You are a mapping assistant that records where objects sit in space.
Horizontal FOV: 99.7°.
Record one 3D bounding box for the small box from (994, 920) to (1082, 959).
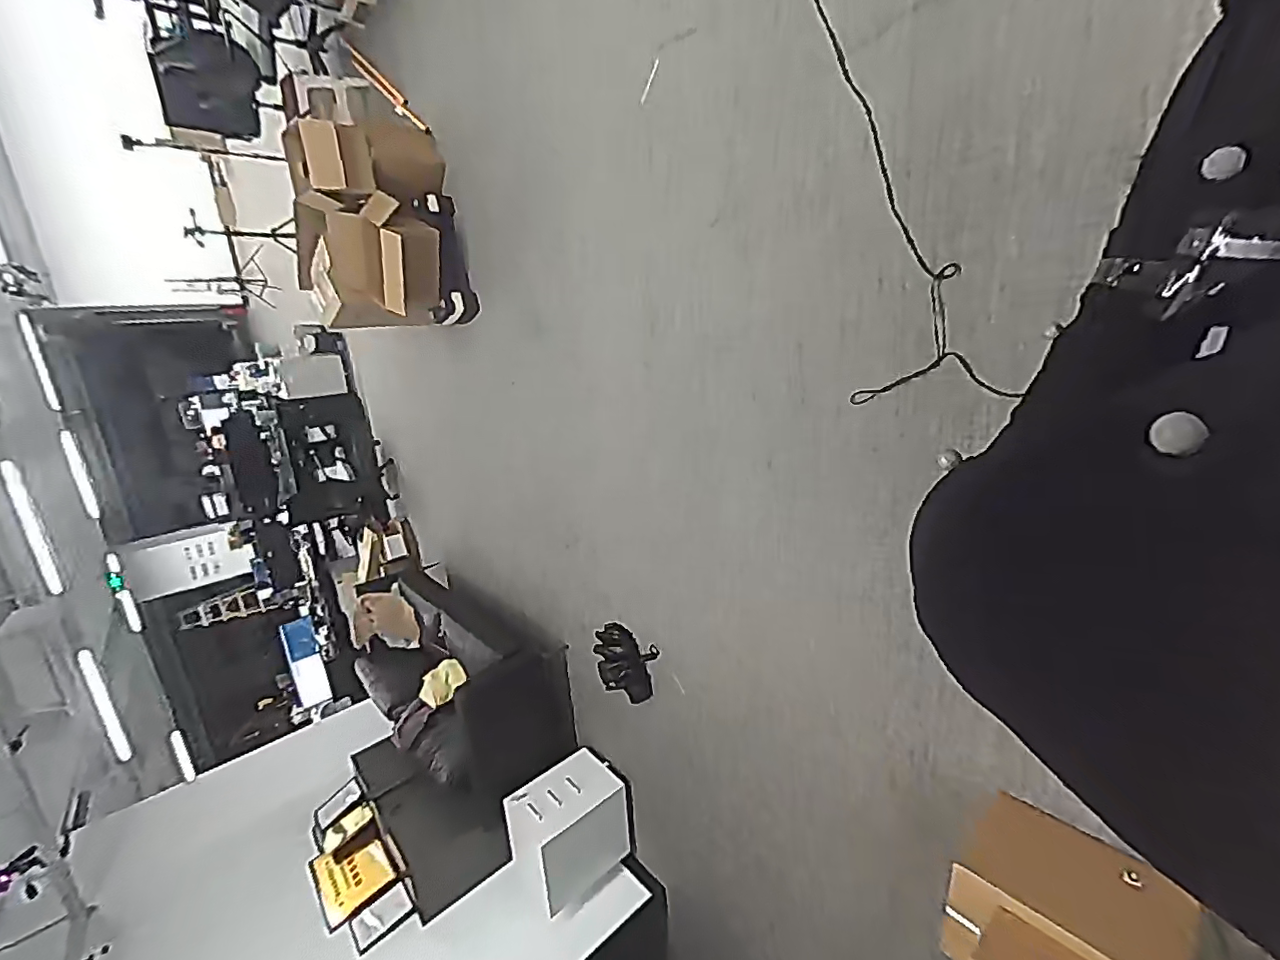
[{"bbox_3d":[0.851,1.093,1.133,0.179,0.176,0.168,13,112,51],"label":"small box"}]
